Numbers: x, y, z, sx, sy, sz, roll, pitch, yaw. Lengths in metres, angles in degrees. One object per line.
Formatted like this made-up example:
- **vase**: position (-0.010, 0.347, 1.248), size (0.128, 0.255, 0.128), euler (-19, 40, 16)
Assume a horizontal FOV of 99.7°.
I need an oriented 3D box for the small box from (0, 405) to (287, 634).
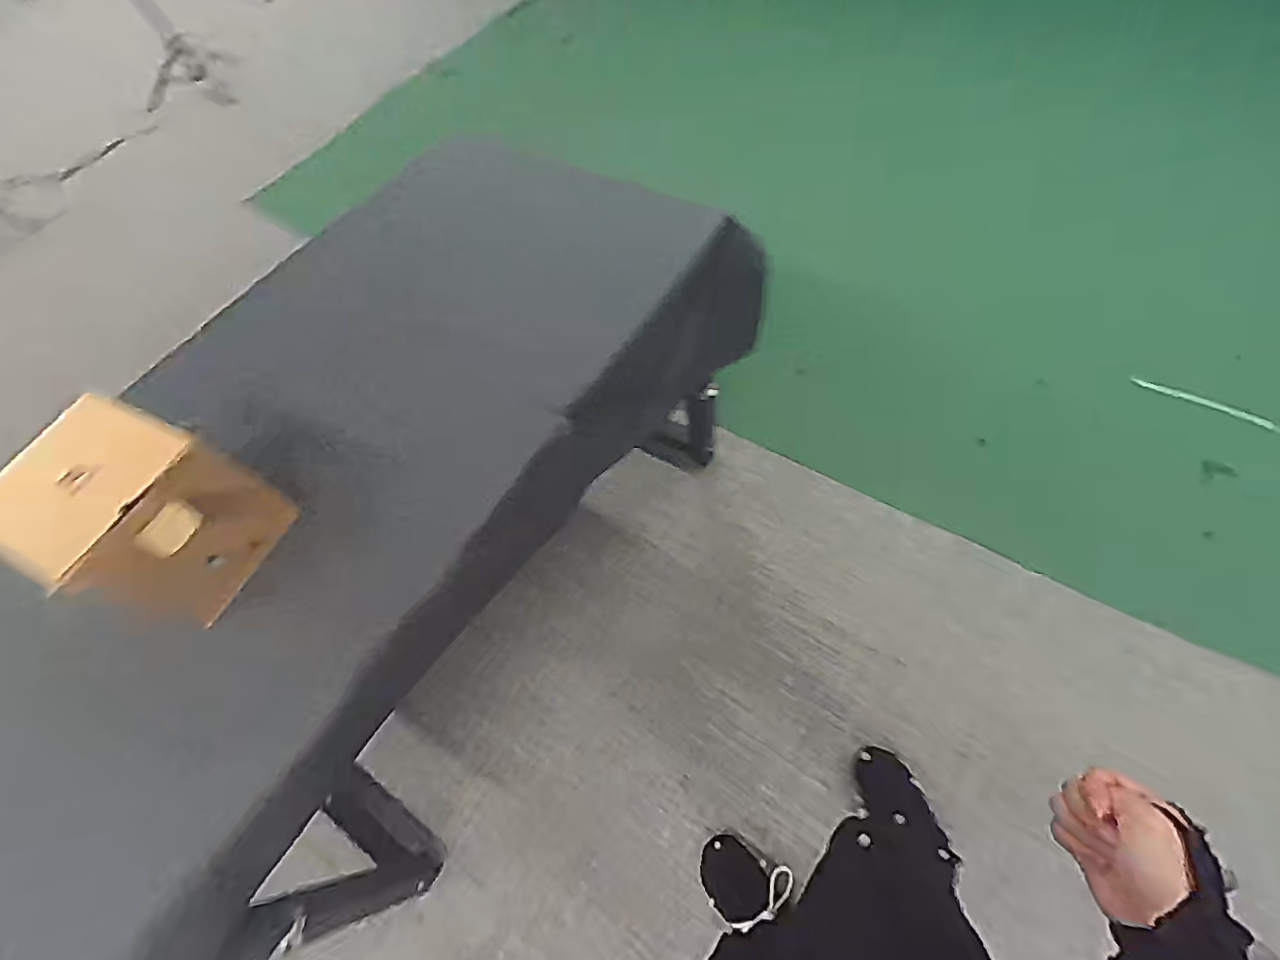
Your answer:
- **small box**: position (-0.548, 0.050, 0.590), size (0.179, 0.176, 0.168), euler (19, 65, 16)
